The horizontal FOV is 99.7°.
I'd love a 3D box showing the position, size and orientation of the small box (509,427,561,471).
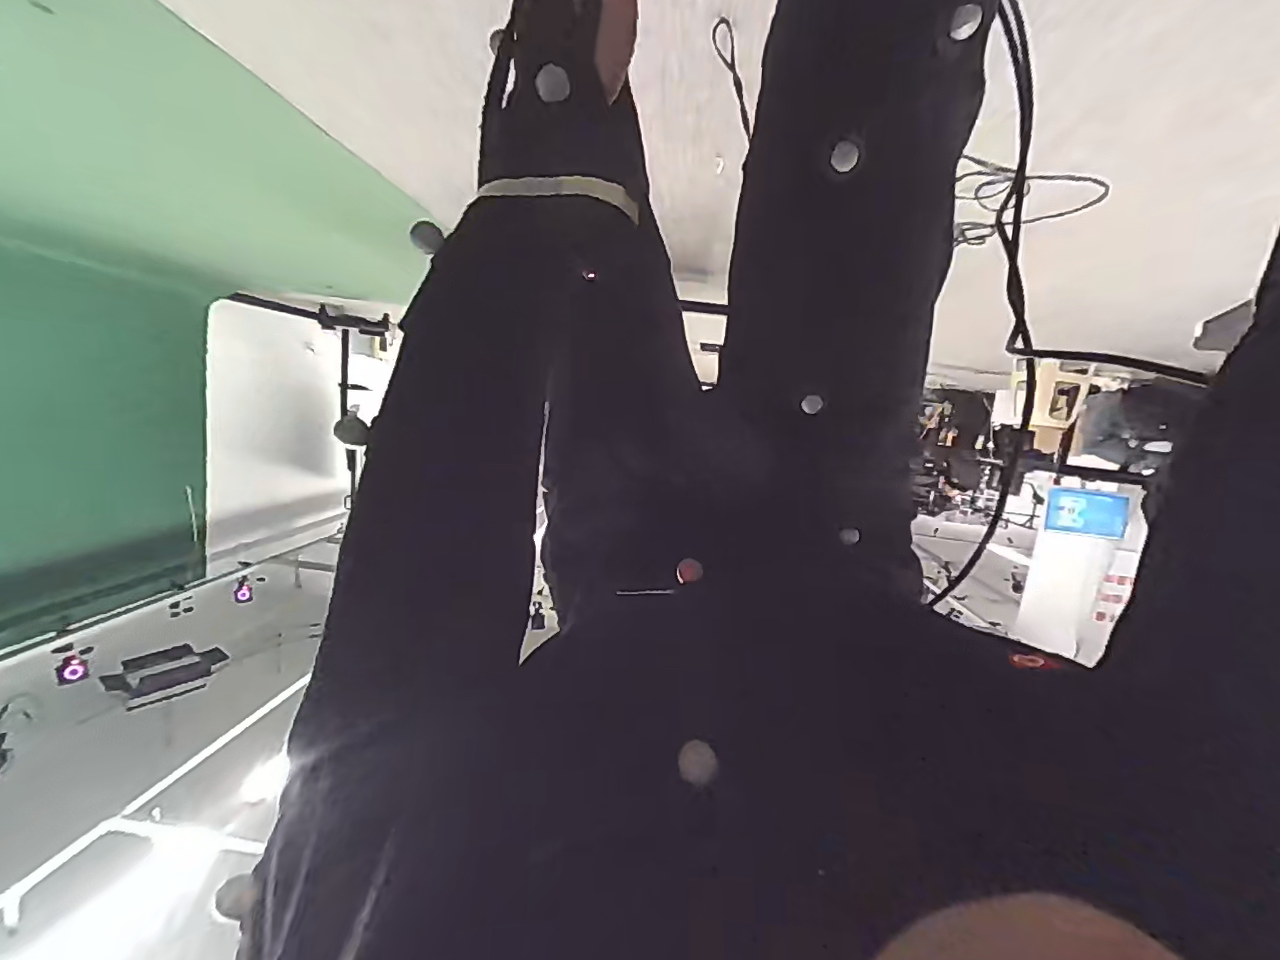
[{"bbox_3d":[-0.457,-0.141,2.362,0.168,0.176,0.179,9,-171,14],"label":"small box"}]
